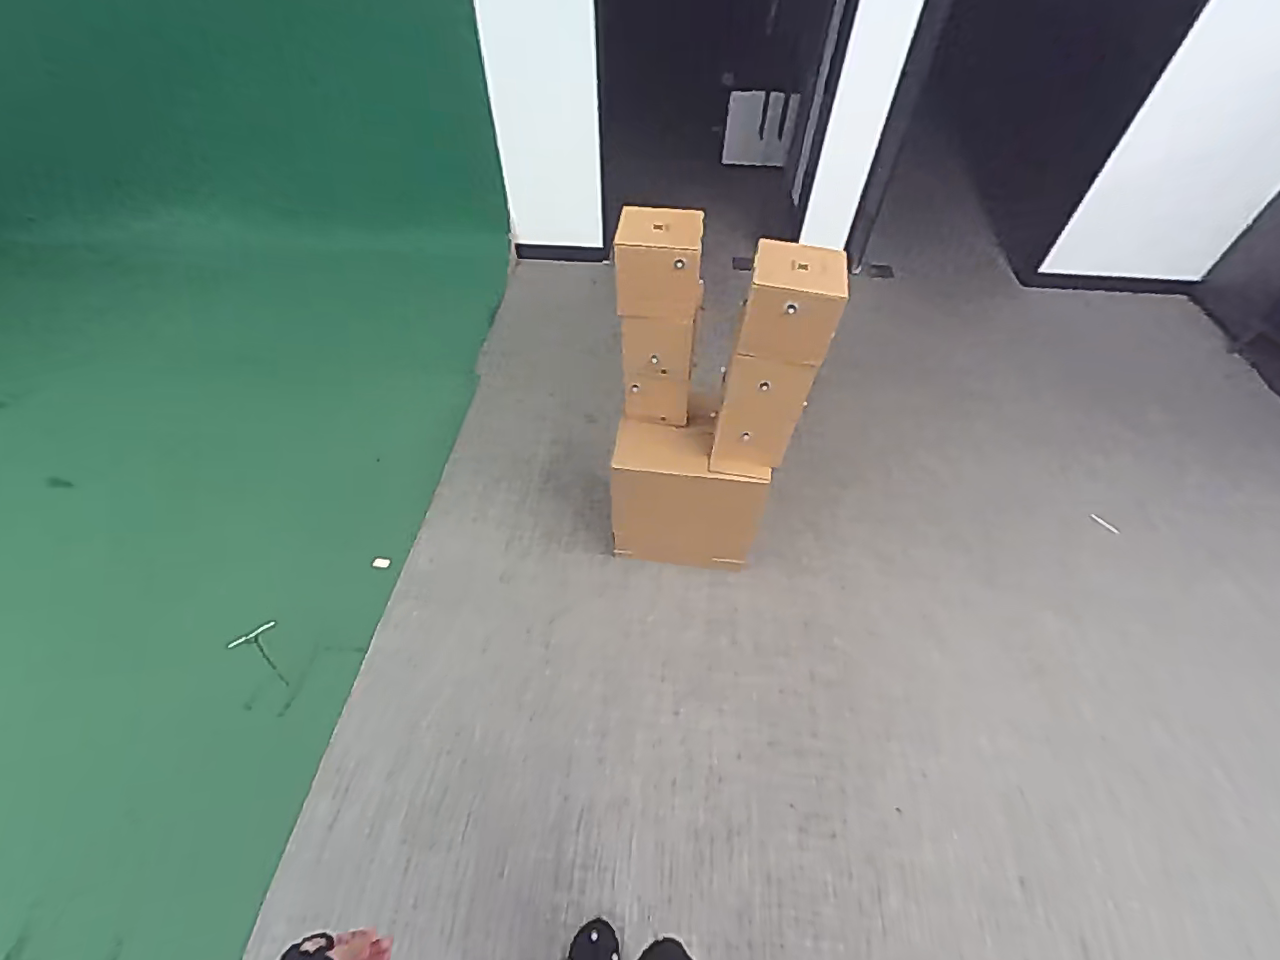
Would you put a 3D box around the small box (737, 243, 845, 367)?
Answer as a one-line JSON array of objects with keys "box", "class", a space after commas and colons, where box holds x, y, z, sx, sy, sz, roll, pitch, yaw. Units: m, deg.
[{"box": [0.301, -0.351, 1.096, 0.179, 0.176, 0.168, 12, 53, 6], "class": "small box"}]

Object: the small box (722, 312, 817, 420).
[{"box": [0.289, -0.254, 1.226, 0.179, 0.176, 0.168, 8, 52, 5], "class": "small box"}]

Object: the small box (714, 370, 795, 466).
[{"box": [0.282, -0.152, 1.354, 0.179, 0.176, 0.168, 7, 54, 5], "class": "small box"}]
